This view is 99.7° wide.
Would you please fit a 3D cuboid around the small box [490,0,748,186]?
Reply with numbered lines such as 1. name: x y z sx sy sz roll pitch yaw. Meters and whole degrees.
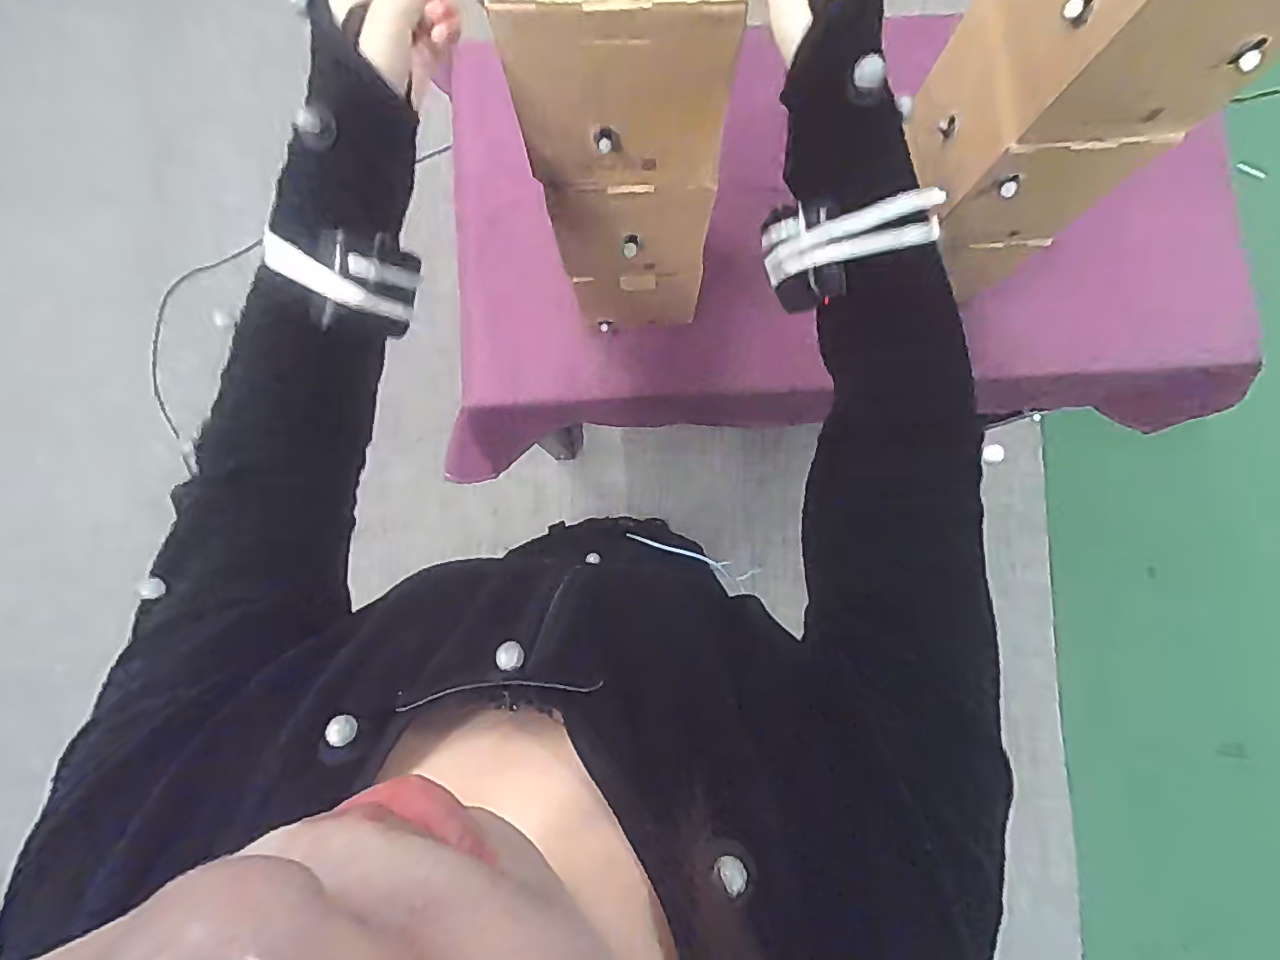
1. small box: -0.013 -0.368 0.426 0.168 0.176 0.179 0 85 0

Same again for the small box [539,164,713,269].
1. small box: -0.014 -0.344 0.588 0.168 0.176 0.179 -2 85 0

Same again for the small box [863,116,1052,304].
1. small box: 0.423 -0.364 0.751 0.168 0.176 0.179 -1 84 1

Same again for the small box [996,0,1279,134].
1. small box: 0.418 -0.405 0.426 0.168 0.176 0.179 -4 84 0

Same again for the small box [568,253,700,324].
1. small box: -0.009 -0.328 0.751 0.168 0.176 0.179 -4 84 0
